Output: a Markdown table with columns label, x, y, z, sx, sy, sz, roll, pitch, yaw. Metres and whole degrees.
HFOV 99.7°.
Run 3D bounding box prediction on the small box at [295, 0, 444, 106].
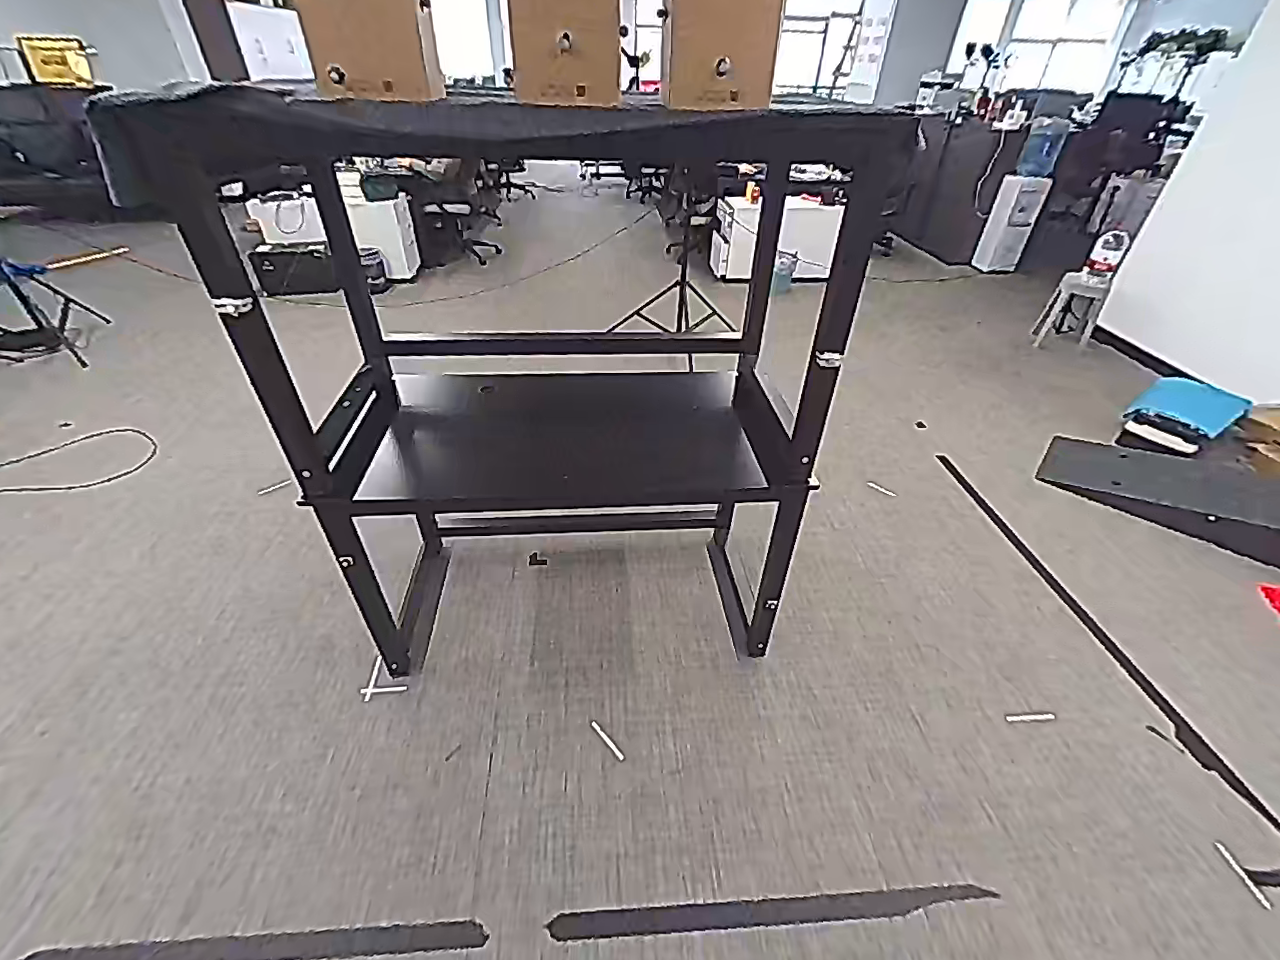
| label | x | y | z | sx | sy | sz | roll | pitch | yaw |
| --- | --- | --- | --- | --- | --- | --- | --- | --- | --- |
| small box | -0.417 | -0.696 | 0.856 | 0.168 | 0.176 | 0.179 | -4 | 36 | -8 |

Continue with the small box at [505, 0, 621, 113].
| label | x | y | z | sx | sy | sz | roll | pitch | yaw |
| --- | --- | --- | --- | --- | --- | --- | --- | --- | --- |
| small box | -0.115 | -0.701 | 0.874 | 0.168 | 0.176 | 0.179 | 0 | 37 | -3 |

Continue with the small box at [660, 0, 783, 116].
| label | x | y | z | sx | sy | sz | roll | pitch | yaw |
| --- | --- | --- | --- | --- | --- | --- | --- | --- | --- |
| small box | 0.122 | -0.706 | 0.887 | 0.168 | 0.176 | 0.179 | -2 | 37 | -3 |
